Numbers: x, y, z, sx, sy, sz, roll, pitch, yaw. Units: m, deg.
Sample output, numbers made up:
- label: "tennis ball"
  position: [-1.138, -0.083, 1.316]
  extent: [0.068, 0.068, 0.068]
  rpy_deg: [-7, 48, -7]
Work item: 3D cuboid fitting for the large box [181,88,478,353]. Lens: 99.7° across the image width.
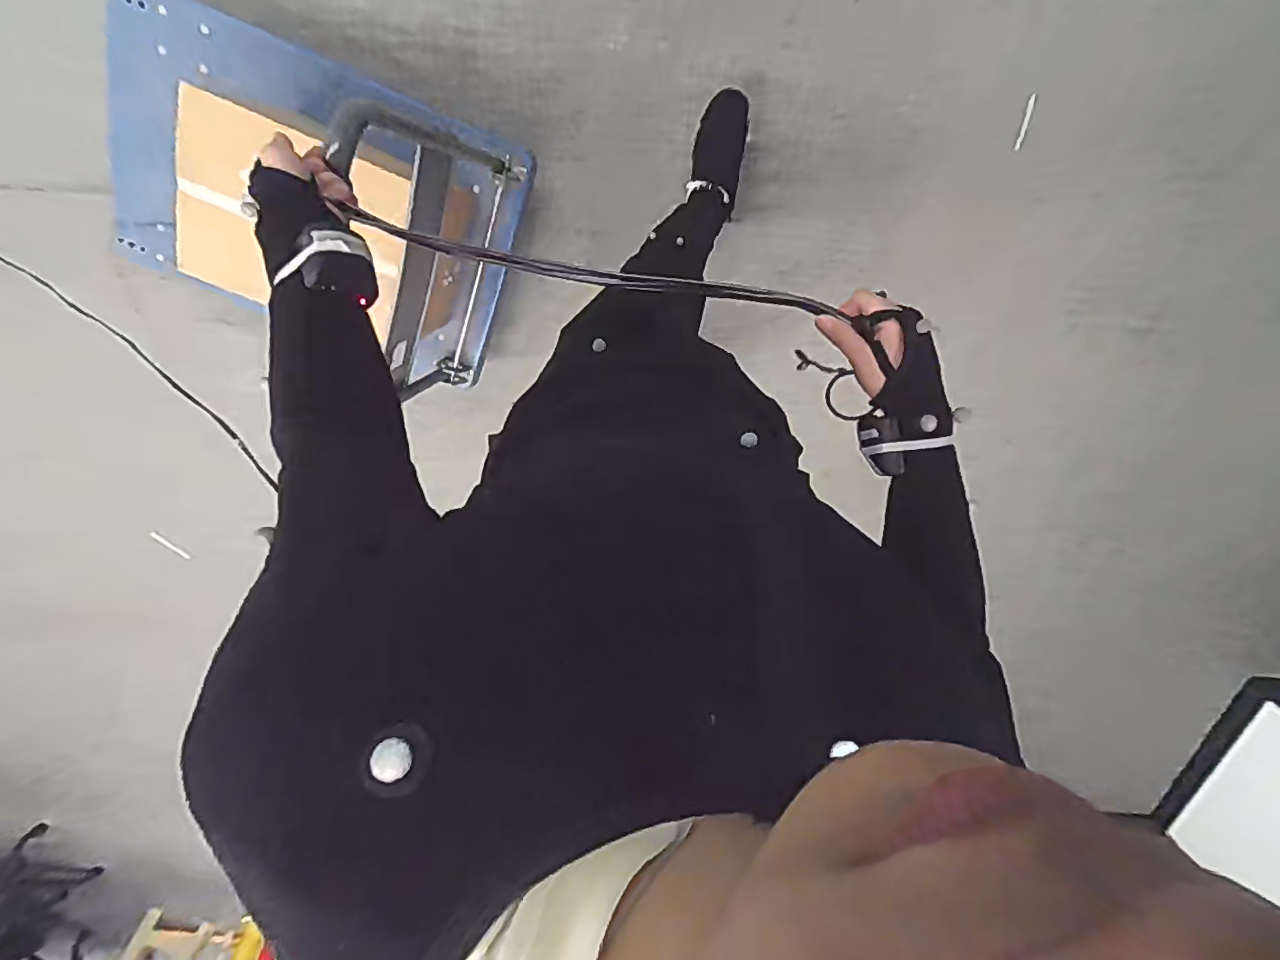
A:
- label: "large box"
  position: [-0.593, -0.502, 1.087]
  extent: [0.408, 0.320, 0.320]
  rpy_deg: [21, 115, -8]
